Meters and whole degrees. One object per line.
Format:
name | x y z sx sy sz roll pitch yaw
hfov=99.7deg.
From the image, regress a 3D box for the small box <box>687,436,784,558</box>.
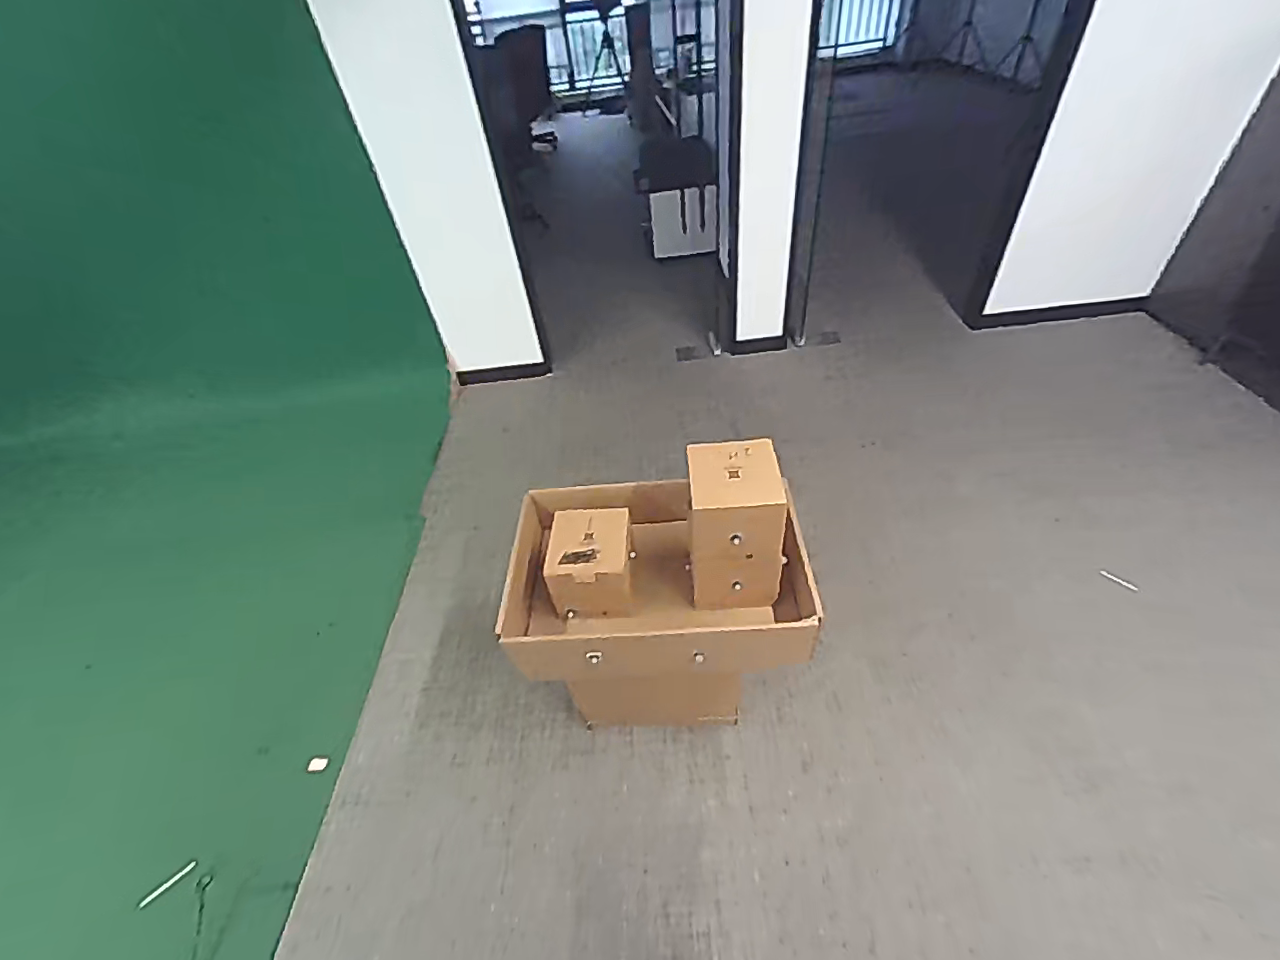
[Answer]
small box | 0.180 0.039 1.049 0.168 0.176 0.179 -4 44 4
